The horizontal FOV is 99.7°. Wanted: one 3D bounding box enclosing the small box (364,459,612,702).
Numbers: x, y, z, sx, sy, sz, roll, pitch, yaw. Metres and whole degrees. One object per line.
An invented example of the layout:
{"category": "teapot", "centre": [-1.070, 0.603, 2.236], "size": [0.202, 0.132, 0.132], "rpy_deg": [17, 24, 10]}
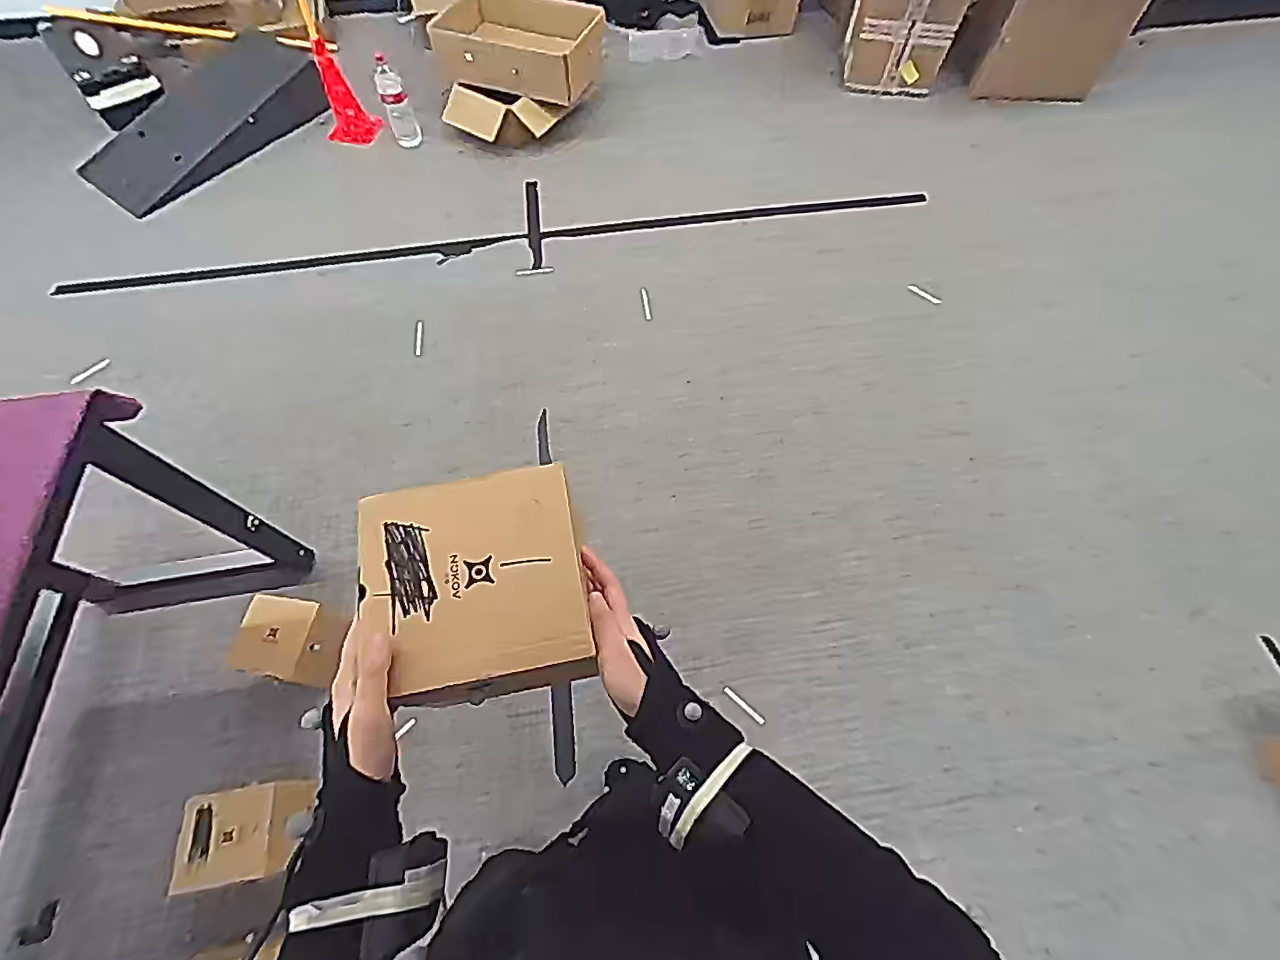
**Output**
{"category": "small box", "centre": [-0.127, 0.102, 0.499], "size": [0.179, 0.176, 0.168], "rpy_deg": [-10, 66, -5]}

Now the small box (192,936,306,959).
{"category": "small box", "centre": [-0.774, 0.992, 1.015], "size": [0.179, 0.176, 0.168], "rpy_deg": [-7, 63, -2]}

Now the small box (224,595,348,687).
{"category": "small box", "centre": [-0.850, 0.397, 1.323], "size": [0.168, 0.176, 0.179], "rpy_deg": [8, 64, 4]}
